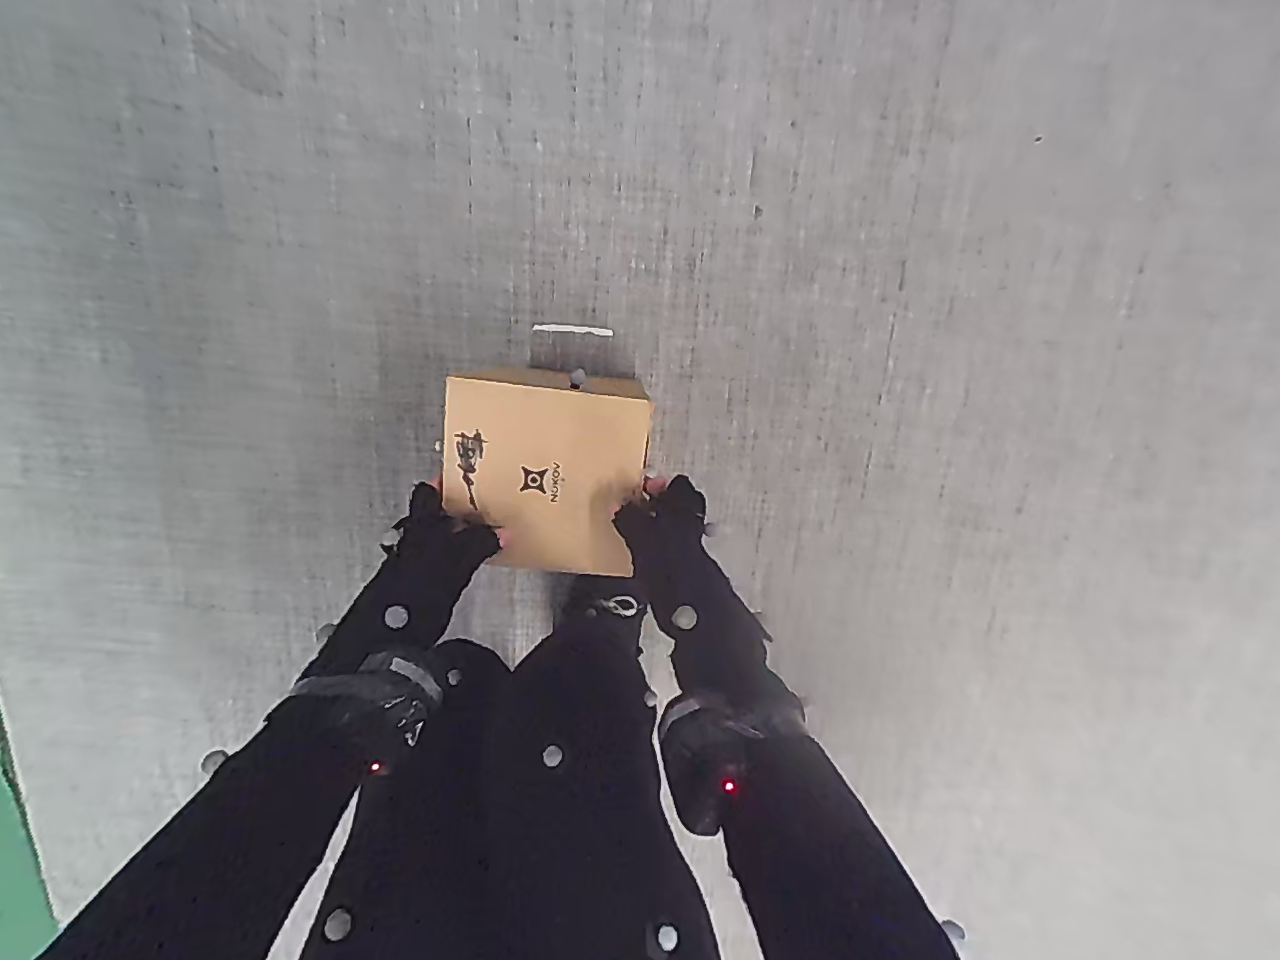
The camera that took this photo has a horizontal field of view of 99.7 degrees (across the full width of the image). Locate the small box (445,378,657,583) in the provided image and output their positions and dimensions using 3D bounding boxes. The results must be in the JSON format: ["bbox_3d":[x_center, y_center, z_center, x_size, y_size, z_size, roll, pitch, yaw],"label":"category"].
[{"bbox_3d":[-0.085,-0.011,0.554,0.179,0.176,0.168,6,103,-4],"label":"small box"}]
